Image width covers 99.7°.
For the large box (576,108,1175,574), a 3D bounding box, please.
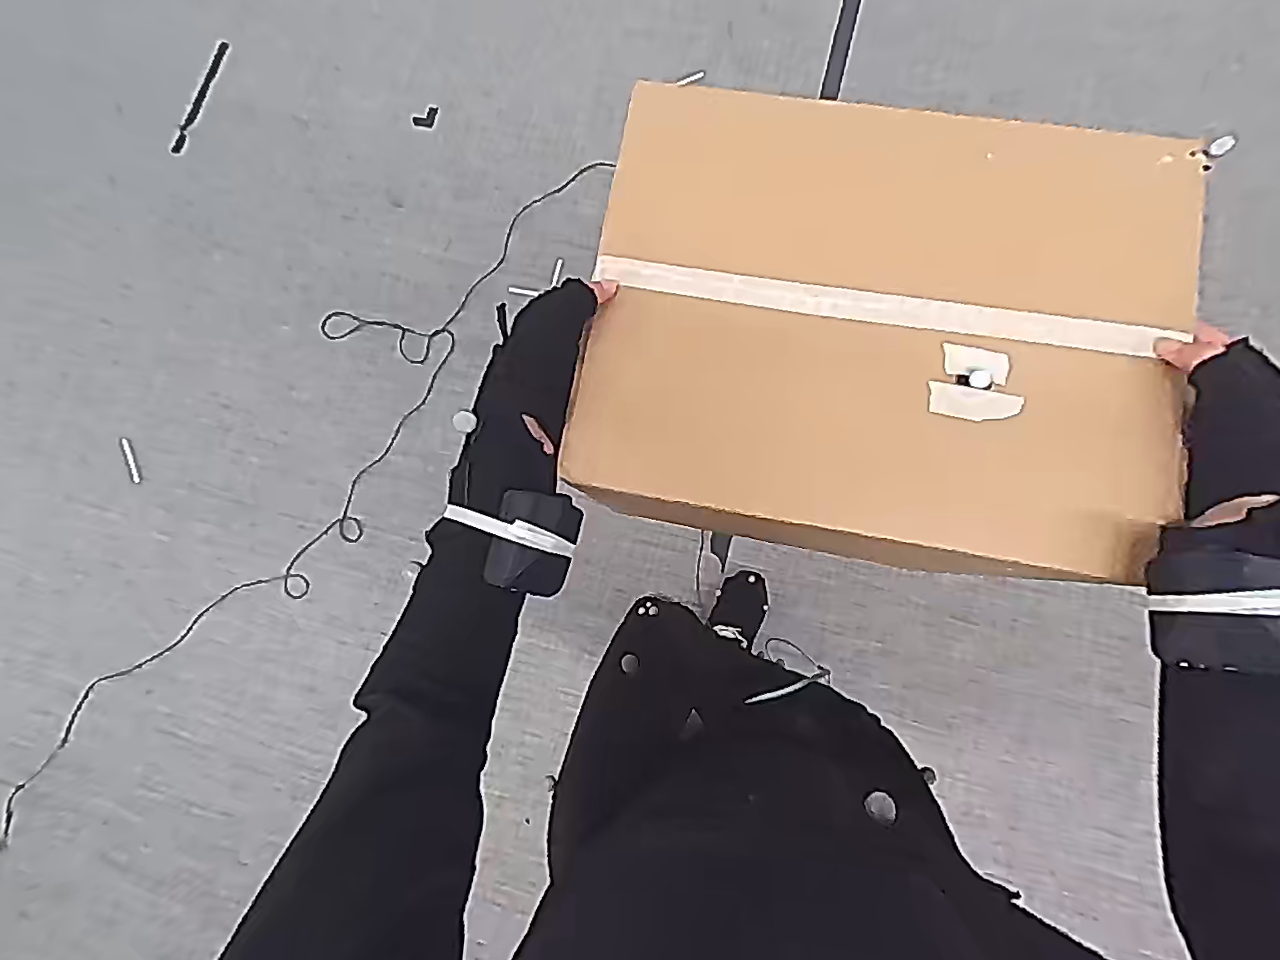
[{"bbox_3d":[0.177,-0.096,0.539,0.408,0.320,0.320,10,84,4],"label":"large box"}]
